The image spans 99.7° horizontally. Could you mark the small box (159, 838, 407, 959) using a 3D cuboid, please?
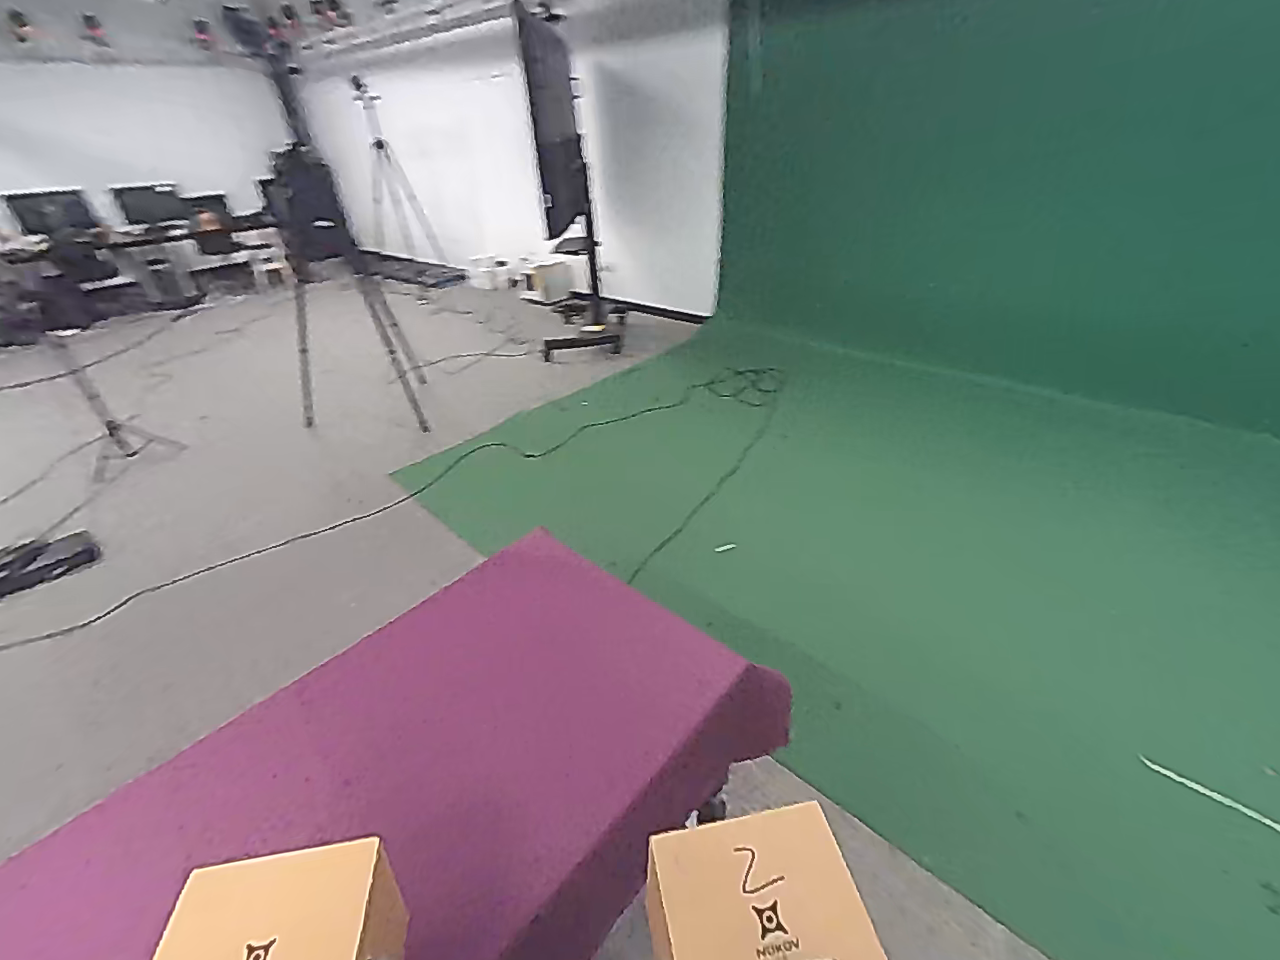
[{"bbox_3d":[-0.318,0.467,0.487,0.168,0.176,0.179,-2,32,-11],"label":"small box"}]
